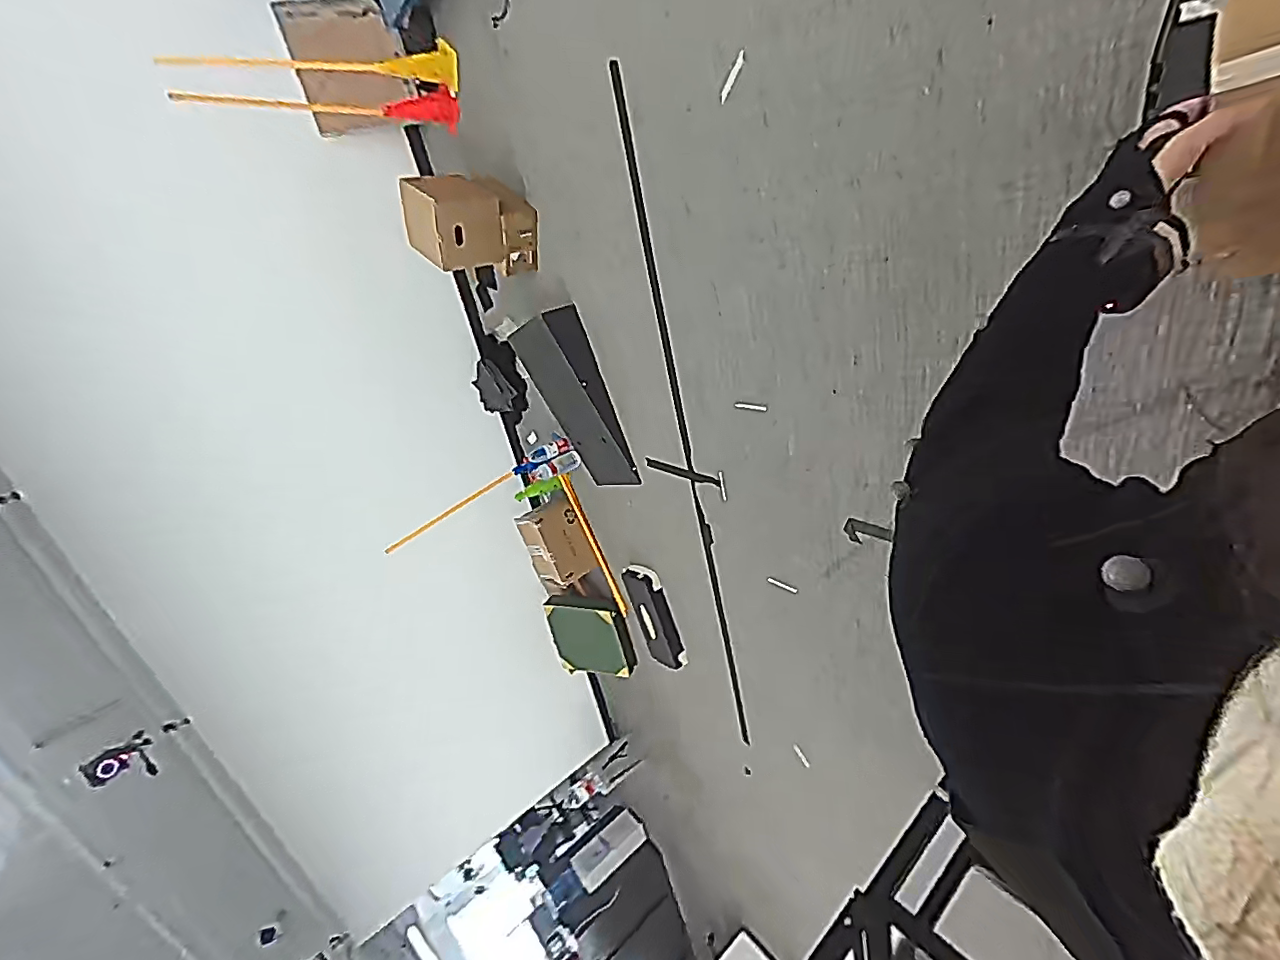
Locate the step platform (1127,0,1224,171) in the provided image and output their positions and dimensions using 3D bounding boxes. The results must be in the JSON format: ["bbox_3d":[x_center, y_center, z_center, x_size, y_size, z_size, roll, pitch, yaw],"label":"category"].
[{"bbox_3d":[1.036,-0.558,0.632,0.684,0.204,0.286,27,135,47],"label":"step platform"}]
